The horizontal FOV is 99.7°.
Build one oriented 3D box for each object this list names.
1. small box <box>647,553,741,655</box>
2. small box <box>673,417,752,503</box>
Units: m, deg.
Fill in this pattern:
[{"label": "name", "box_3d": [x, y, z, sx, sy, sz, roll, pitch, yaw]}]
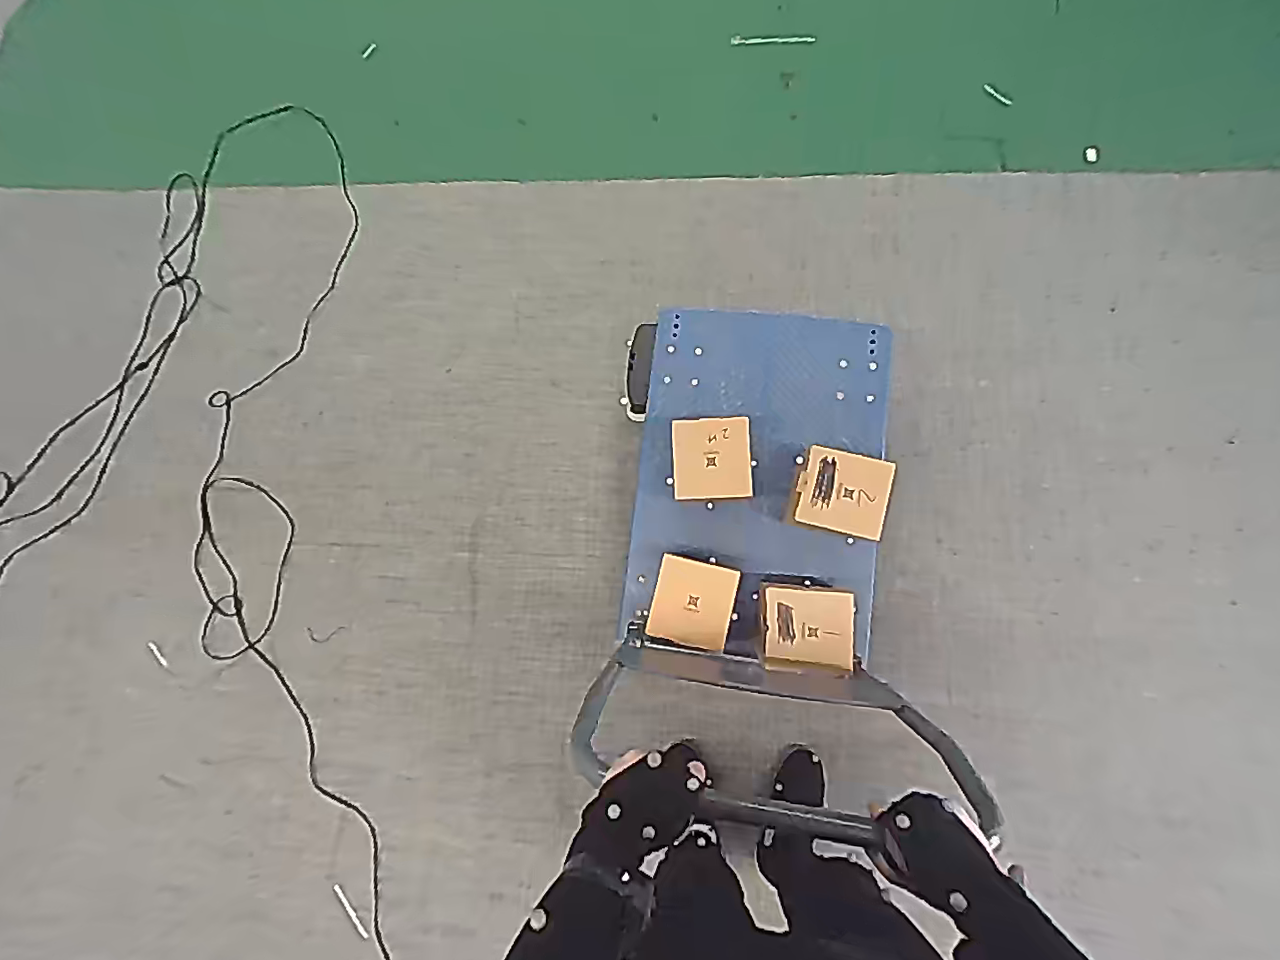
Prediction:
[{"label": "small box", "box_3d": [0.119, 0.263, 1.199, 0.168, 0.176, 0.179, 14, 86, 7]}, {"label": "small box", "box_3d": [0.163, -0.038, 1.229, 0.168, 0.176, 0.179, -2, 83, 5]}]
